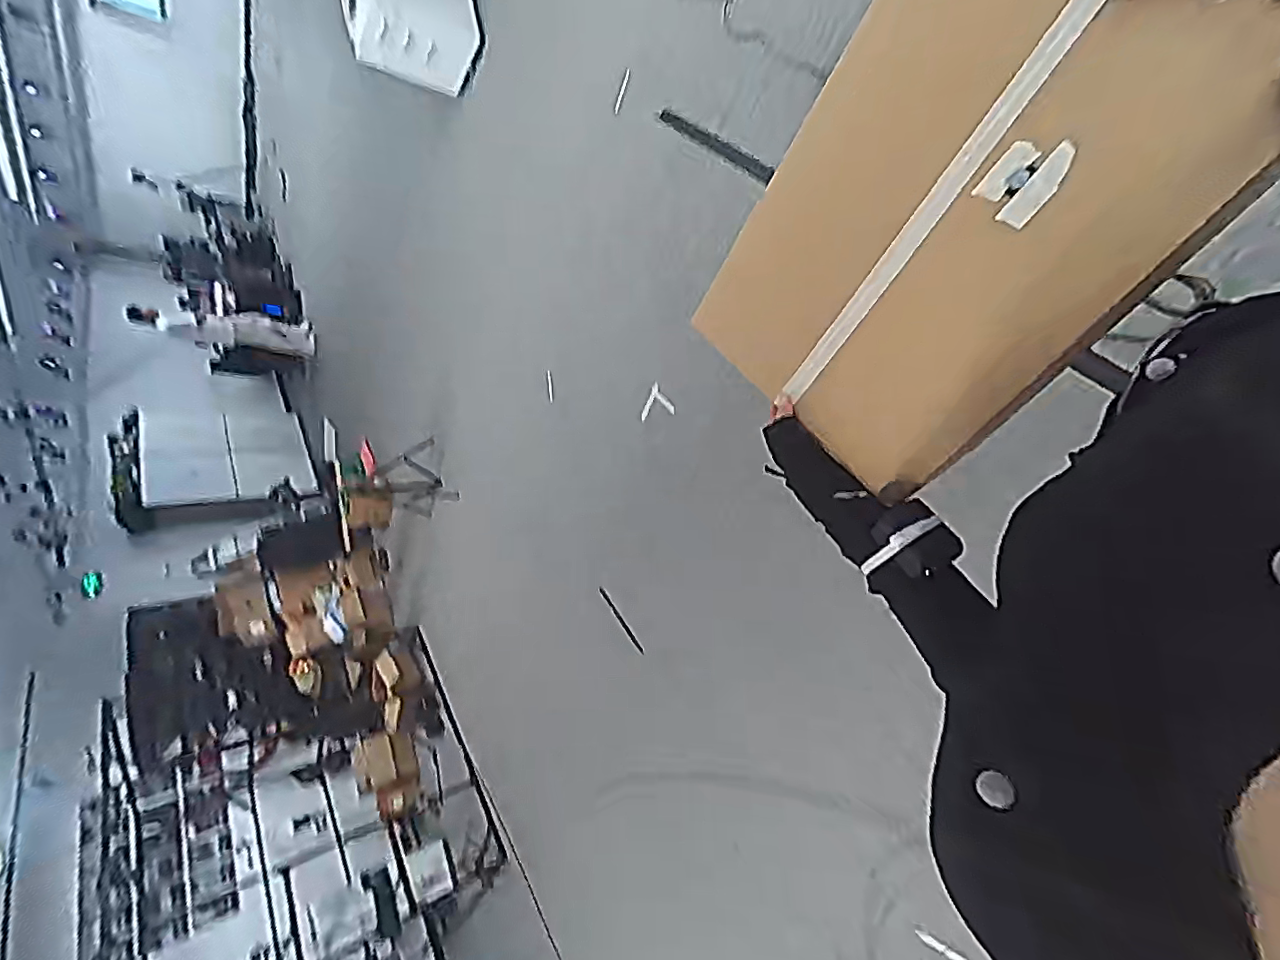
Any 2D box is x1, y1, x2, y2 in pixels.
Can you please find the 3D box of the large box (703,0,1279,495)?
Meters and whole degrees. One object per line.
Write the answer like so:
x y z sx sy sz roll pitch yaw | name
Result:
0.348 -0.250 0.590 0.320 0.320 0.408 48 128 22 | large box
